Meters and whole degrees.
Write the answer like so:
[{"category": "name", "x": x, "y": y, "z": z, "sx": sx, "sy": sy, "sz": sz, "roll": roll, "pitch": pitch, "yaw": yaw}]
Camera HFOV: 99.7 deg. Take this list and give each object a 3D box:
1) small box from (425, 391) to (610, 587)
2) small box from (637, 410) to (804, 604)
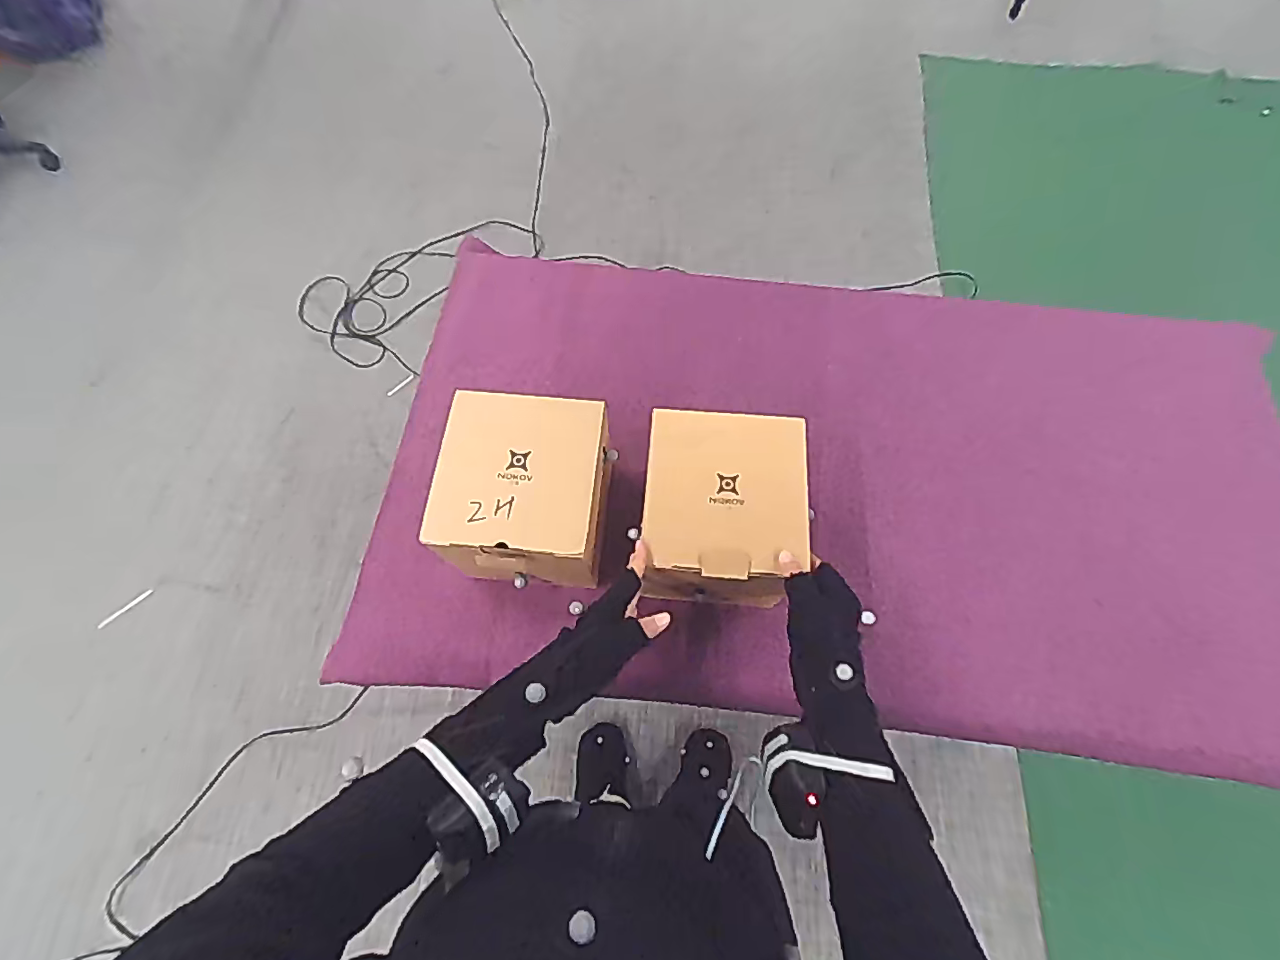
[{"category": "small box", "x": -0.127, "y": 0.018, "z": 0.639, "sx": 0.168, "sy": 0.176, "sz": 0.179, "roll": 5, "pitch": 69, "yaw": 2}, {"category": "small box", "x": 0.085, "y": 0.039, "z": 0.633, "sx": 0.168, "sy": 0.176, "sz": 0.179, "roll": 4, "pitch": 69, "yaw": 2}]
